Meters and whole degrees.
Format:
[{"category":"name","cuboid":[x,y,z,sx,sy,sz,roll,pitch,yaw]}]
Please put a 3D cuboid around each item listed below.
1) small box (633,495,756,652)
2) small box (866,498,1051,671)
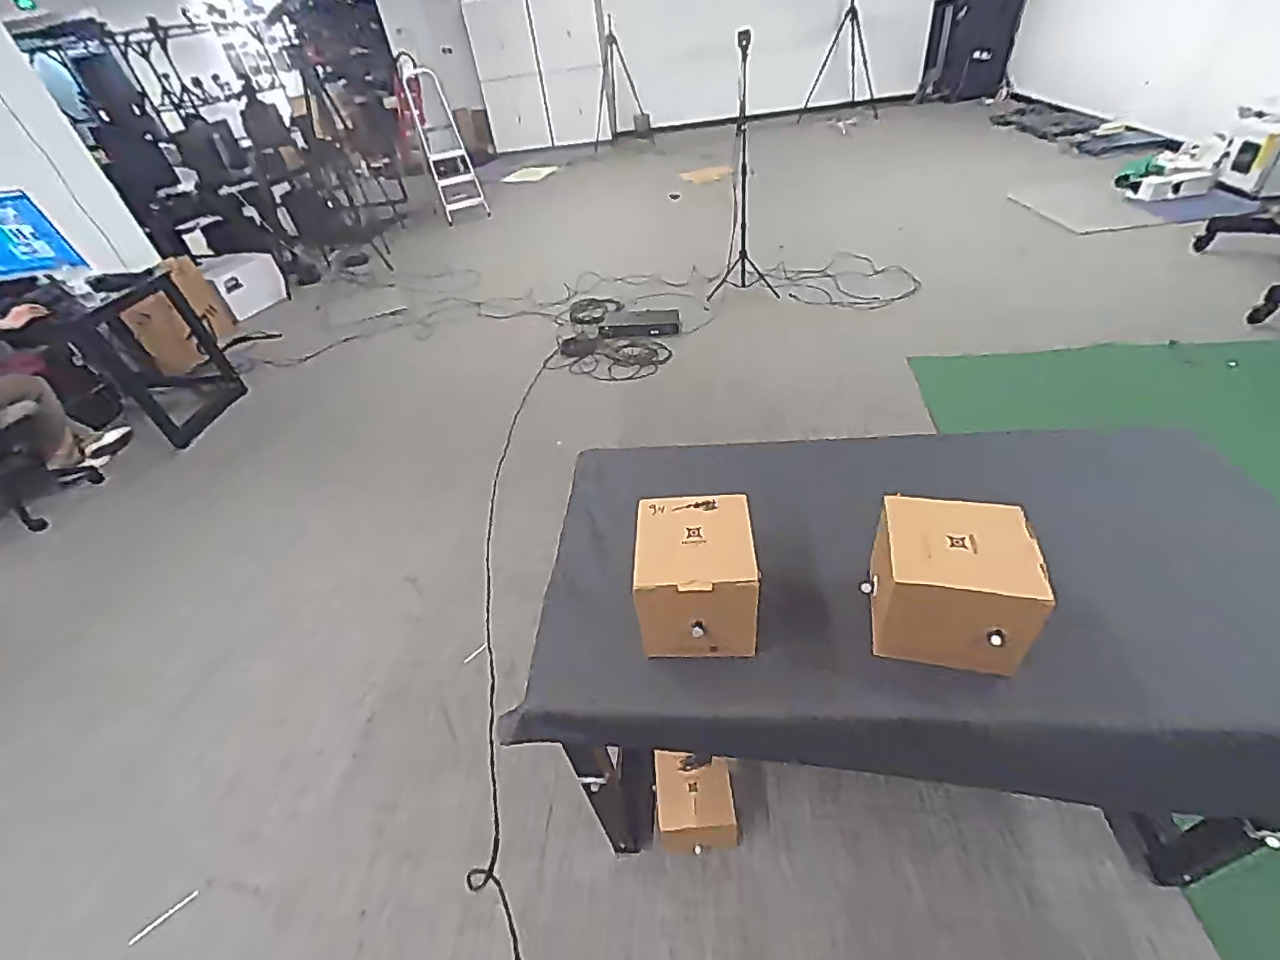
[{"category":"small box","cuboid":[0.086,0.144,0.819,0.168,0.176,0.179,-3,40,6]},{"category":"small box","cuboid":[0.428,0.146,0.762,0.179,0.176,0.168,4,40,16]}]
